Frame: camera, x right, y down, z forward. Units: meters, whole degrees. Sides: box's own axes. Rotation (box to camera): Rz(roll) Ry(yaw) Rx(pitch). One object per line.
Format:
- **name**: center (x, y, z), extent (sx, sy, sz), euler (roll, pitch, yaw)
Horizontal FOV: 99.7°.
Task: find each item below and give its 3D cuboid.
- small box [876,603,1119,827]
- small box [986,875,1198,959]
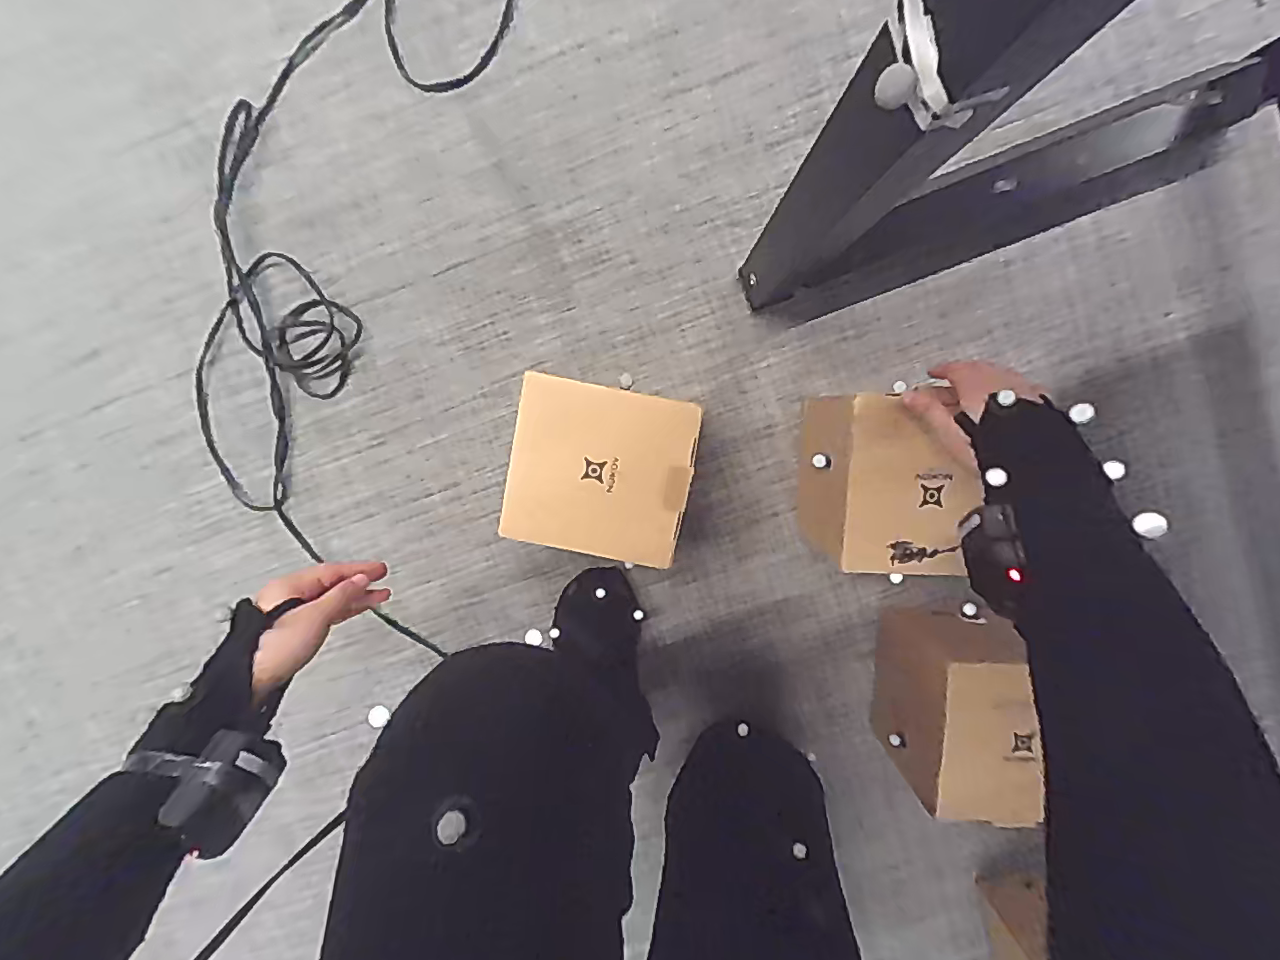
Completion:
- **small box**: center (0.386, 0.254, 0.618), extent (0.168, 0.176, 0.179), euler (1, 96, 1)
- **small box**: center (0.557, 0.623, 0.656), extent (0.168, 0.176, 0.179), euler (-14, 97, 4)
